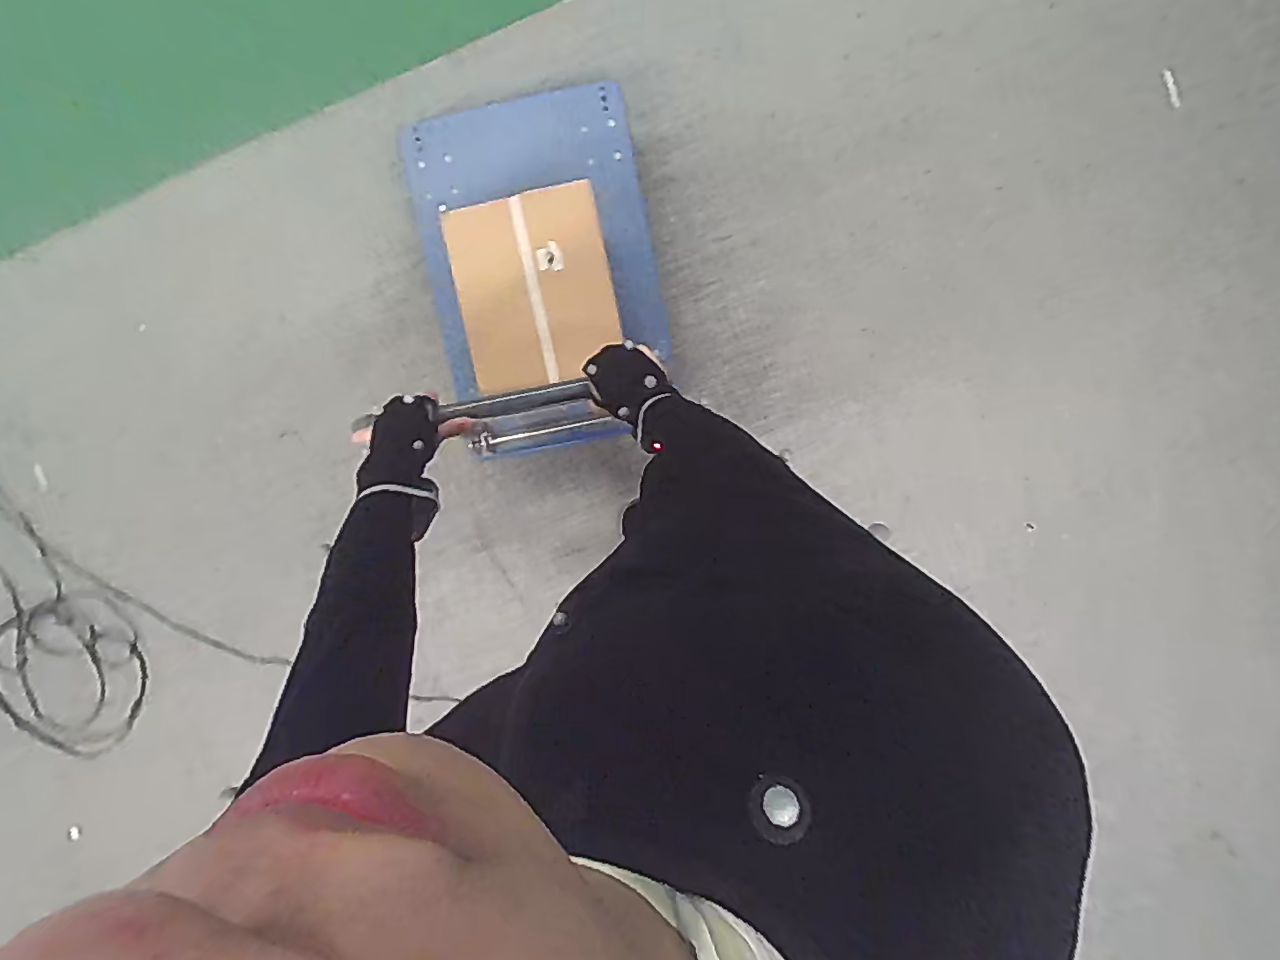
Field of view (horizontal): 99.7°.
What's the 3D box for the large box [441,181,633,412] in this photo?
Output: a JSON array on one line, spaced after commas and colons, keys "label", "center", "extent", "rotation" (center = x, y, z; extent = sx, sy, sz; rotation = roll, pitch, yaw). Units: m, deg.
[{"label": "large box", "center": [-0.212, -0.392, 1.259], "extent": [0.320, 0.320, 0.408], "rotation": [-12, 93, 1]}]
